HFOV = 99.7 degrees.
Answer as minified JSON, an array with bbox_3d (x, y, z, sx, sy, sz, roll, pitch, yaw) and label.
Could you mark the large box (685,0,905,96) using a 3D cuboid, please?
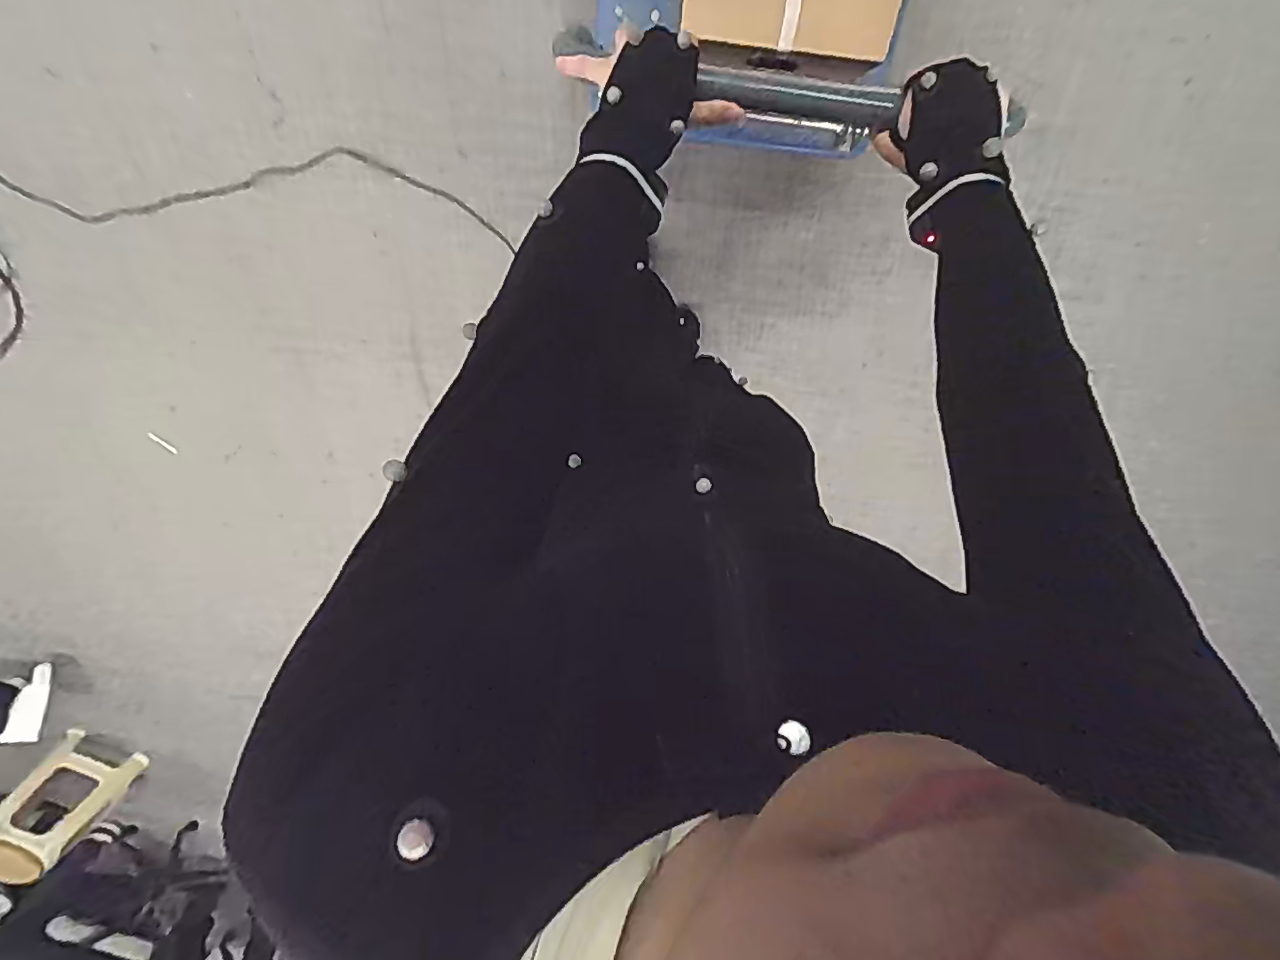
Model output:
[{"bbox_3d":[0.246,-0.882,0.845,0.320,0.320,0.408,7,116,-1],"label":"large box"}]
